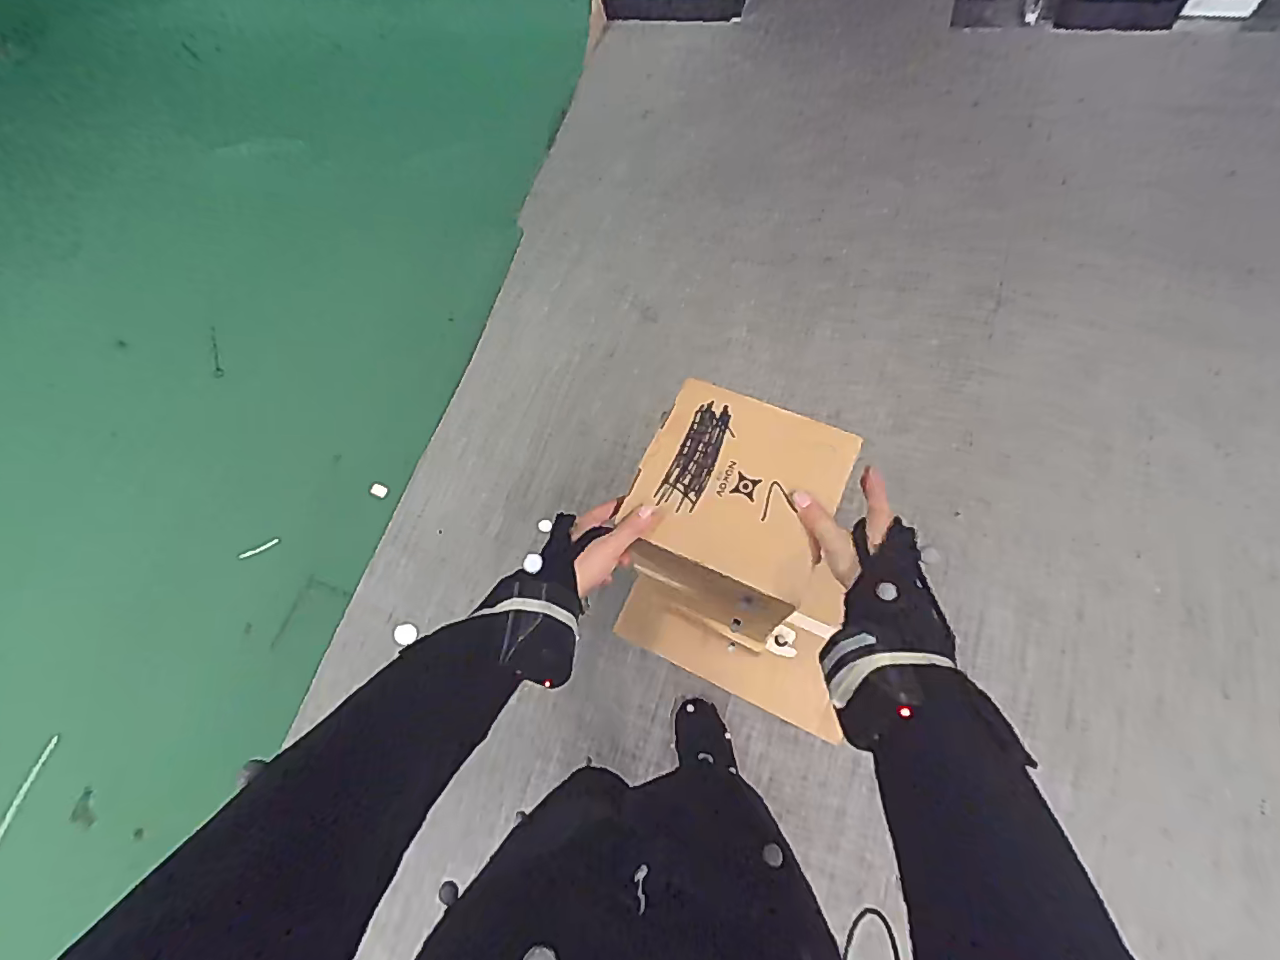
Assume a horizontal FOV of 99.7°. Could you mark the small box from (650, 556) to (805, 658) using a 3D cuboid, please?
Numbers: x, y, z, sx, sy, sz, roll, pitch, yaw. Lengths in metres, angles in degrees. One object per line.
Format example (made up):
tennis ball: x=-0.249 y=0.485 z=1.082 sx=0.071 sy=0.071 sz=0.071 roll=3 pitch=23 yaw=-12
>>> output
small box: x=0.139 y=0.165 z=0.850 sx=0.179 sy=0.176 sz=0.168 roll=23 pitch=74 yaw=18

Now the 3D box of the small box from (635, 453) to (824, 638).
small box: x=0.114 y=0.095 z=0.706 sx=0.179 sy=0.176 sz=0.168 roll=22 pitch=74 yaw=16

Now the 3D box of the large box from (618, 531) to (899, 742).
large box: x=0.219 y=0.255 z=1.064 sx=0.408 sy=0.320 sz=0.320 roll=22 pitch=77 yaw=16
